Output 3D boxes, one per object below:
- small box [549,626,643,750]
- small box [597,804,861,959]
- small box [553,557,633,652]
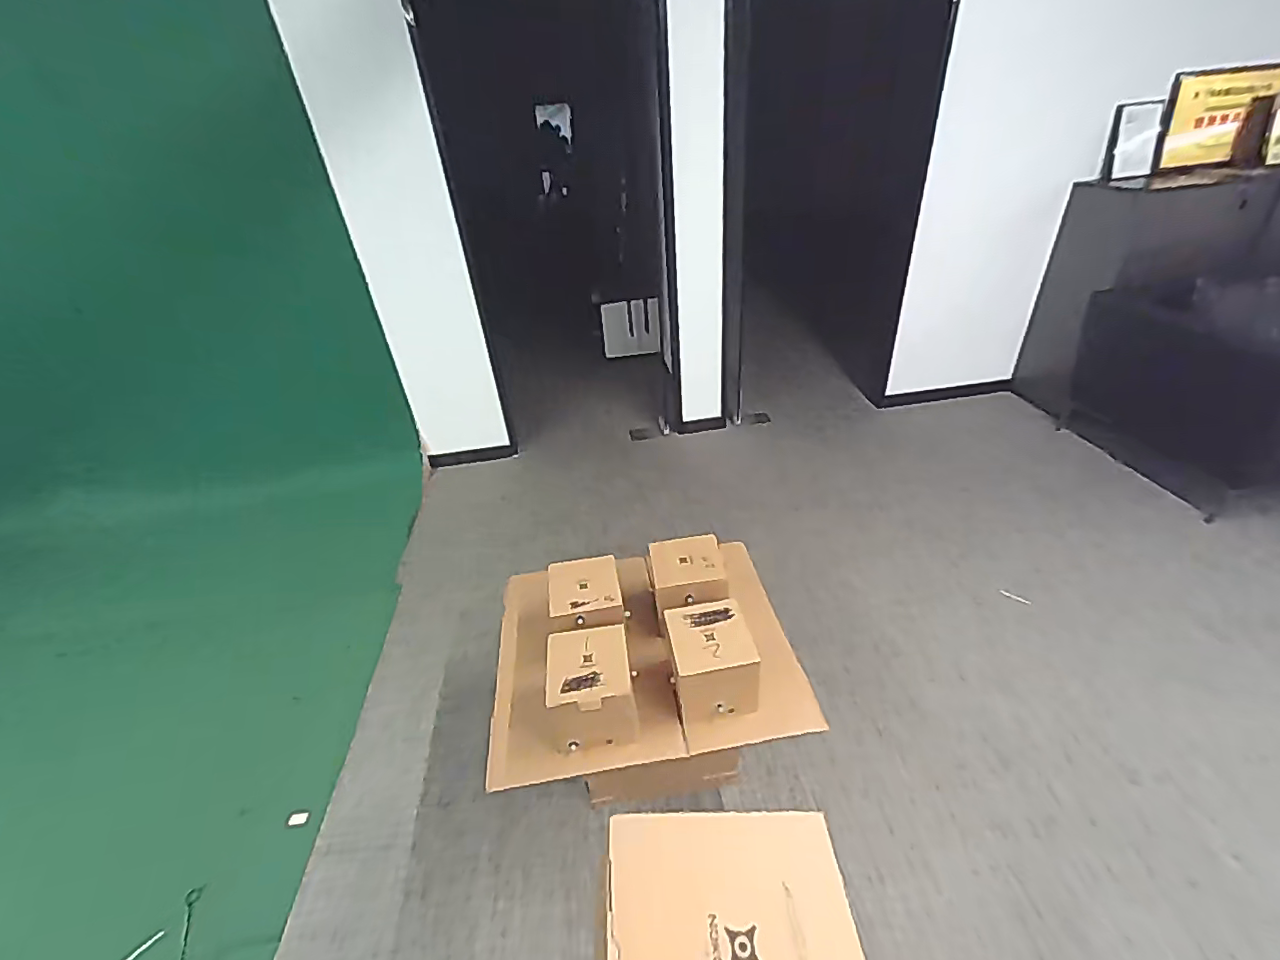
[{"bbox_3d":[-0.090,0.438,1.127,0.168,0.176,0.179,-8,33,-2],"label":"small box"},{"bbox_3d":[0.055,0.372,0.414,0.179,0.176,0.168,3,38,-5],"label":"small box"},{"bbox_3d":[-0.115,0.317,1.312,0.168,0.176,0.179,-10,32,-4],"label":"small box"}]
